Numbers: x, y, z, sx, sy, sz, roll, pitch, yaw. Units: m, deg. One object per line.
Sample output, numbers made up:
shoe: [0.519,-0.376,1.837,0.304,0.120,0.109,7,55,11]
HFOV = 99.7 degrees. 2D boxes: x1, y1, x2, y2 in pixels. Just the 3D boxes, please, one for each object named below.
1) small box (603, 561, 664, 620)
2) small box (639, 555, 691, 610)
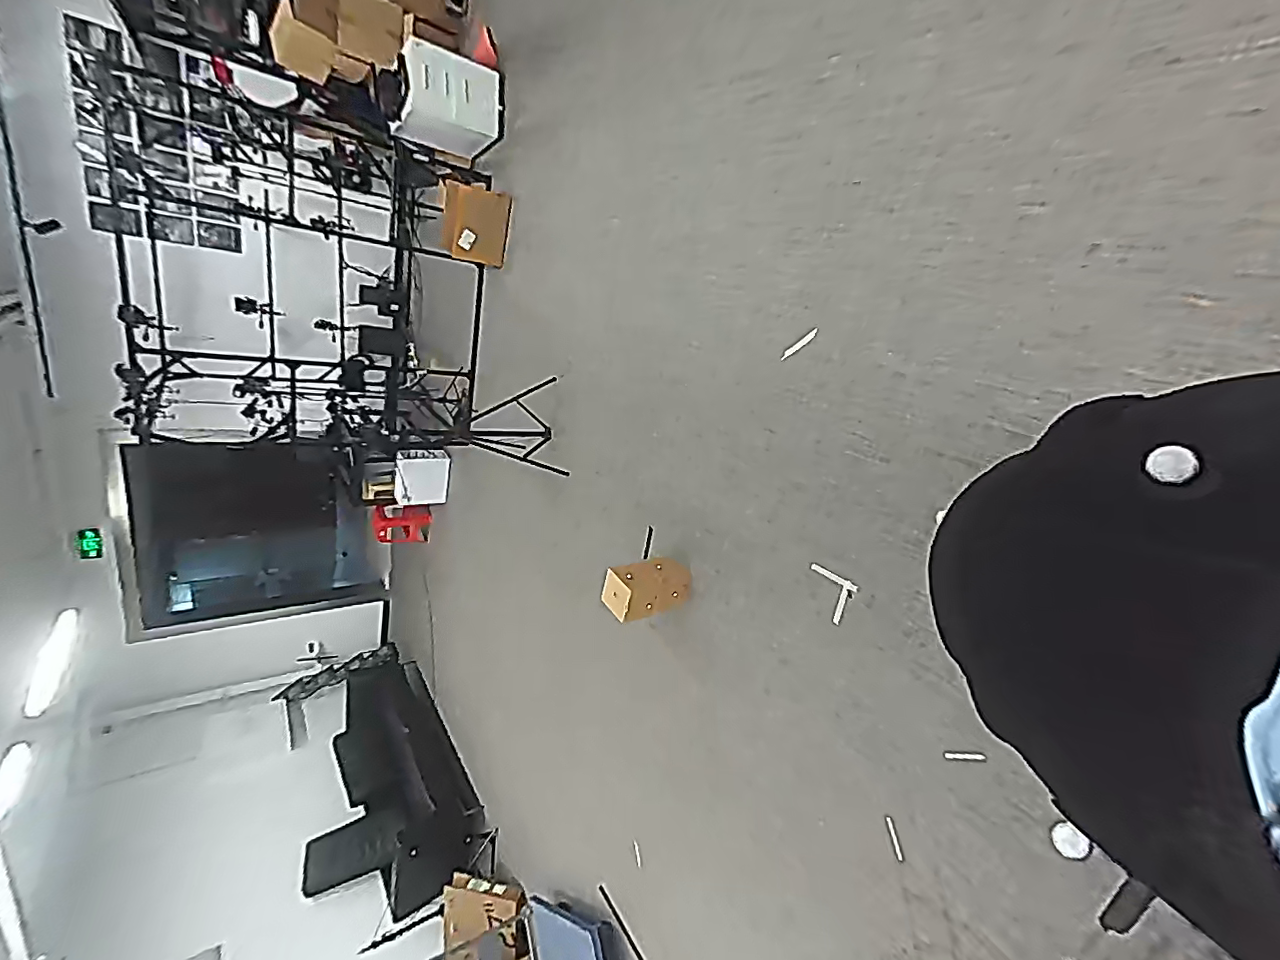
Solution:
small box: [-0.028,0.455,2.262,0.179,0.176,0.168,38,122,44]
small box: [0.101,0.440,2.361,0.179,0.176,0.168,30,116,49]
